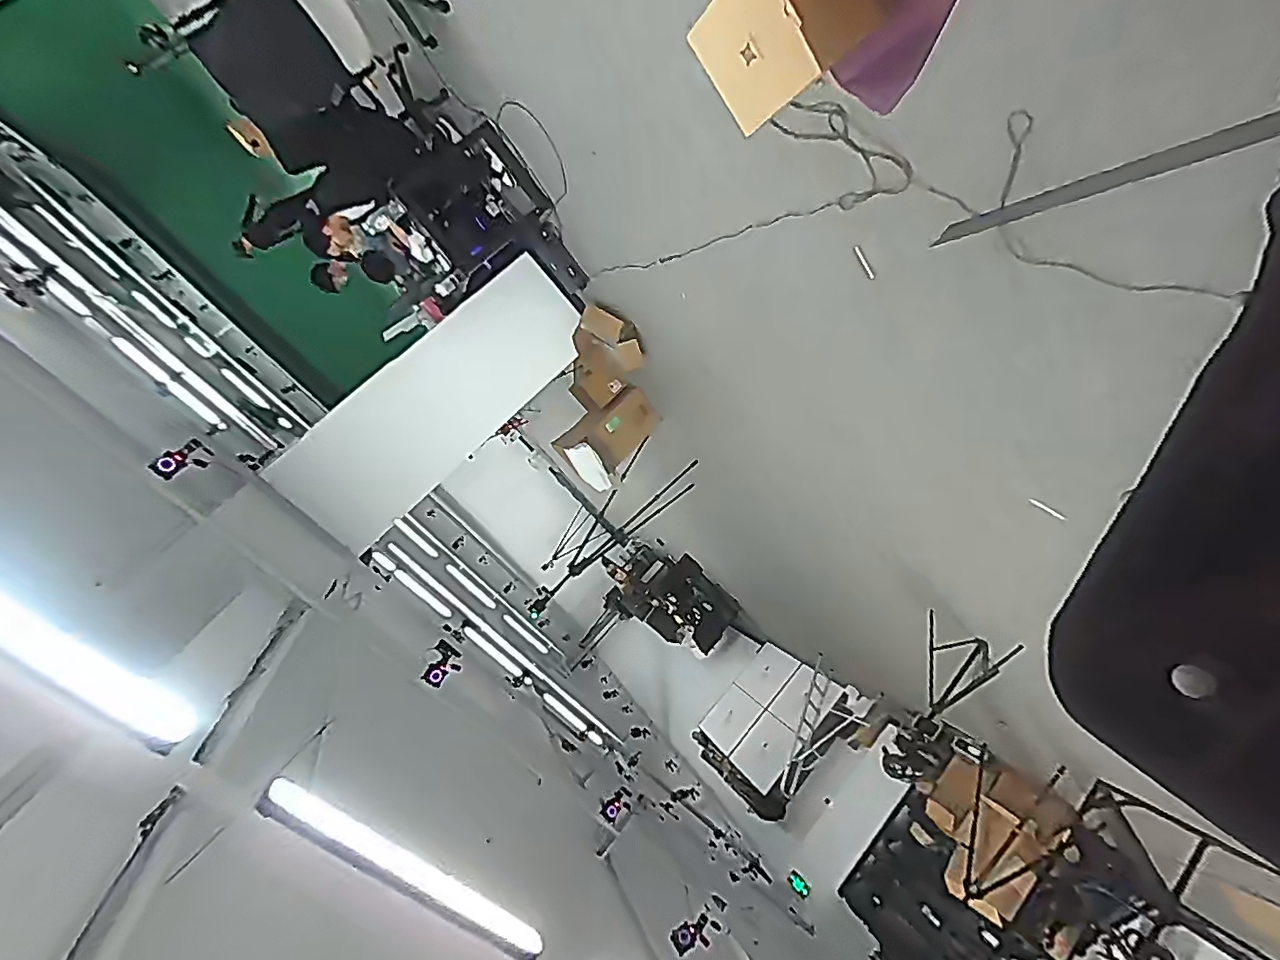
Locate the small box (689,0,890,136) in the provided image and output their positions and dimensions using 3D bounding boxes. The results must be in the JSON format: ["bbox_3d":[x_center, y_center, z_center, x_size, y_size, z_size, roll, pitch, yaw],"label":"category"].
[{"bbox_3d":[0.208,-0.646,0.766,0.168,0.176,0.179,49,166,-19],"label":"small box"}]
